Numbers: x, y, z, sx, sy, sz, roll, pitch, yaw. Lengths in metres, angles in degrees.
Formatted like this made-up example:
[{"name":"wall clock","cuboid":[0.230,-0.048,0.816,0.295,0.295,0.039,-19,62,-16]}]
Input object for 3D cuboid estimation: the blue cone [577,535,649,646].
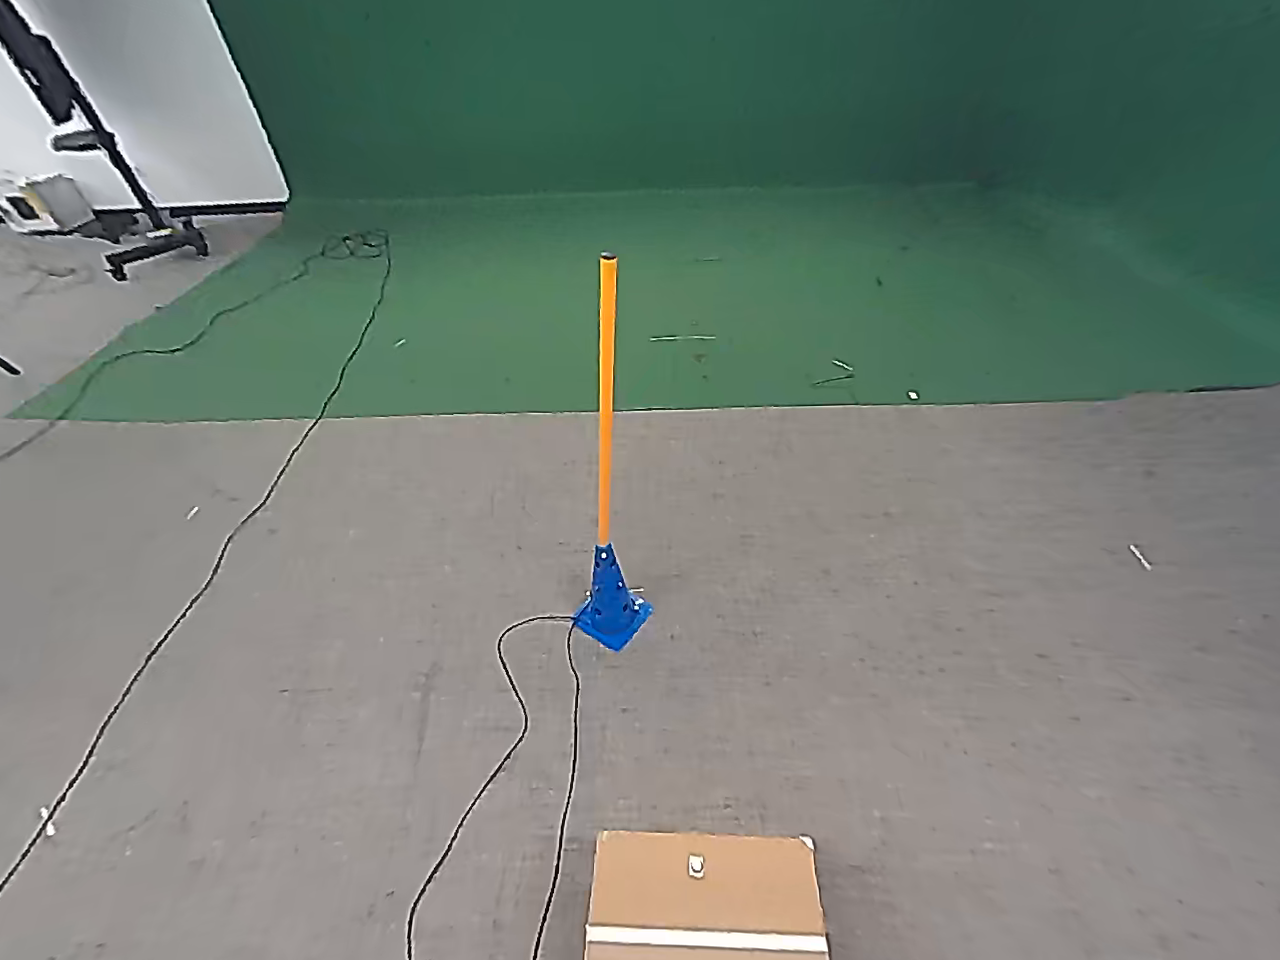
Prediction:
[{"name":"blue cone","cuboid":[-0.090,0.296,1.597,0.192,0.380,0.193,24,49,24]}]
